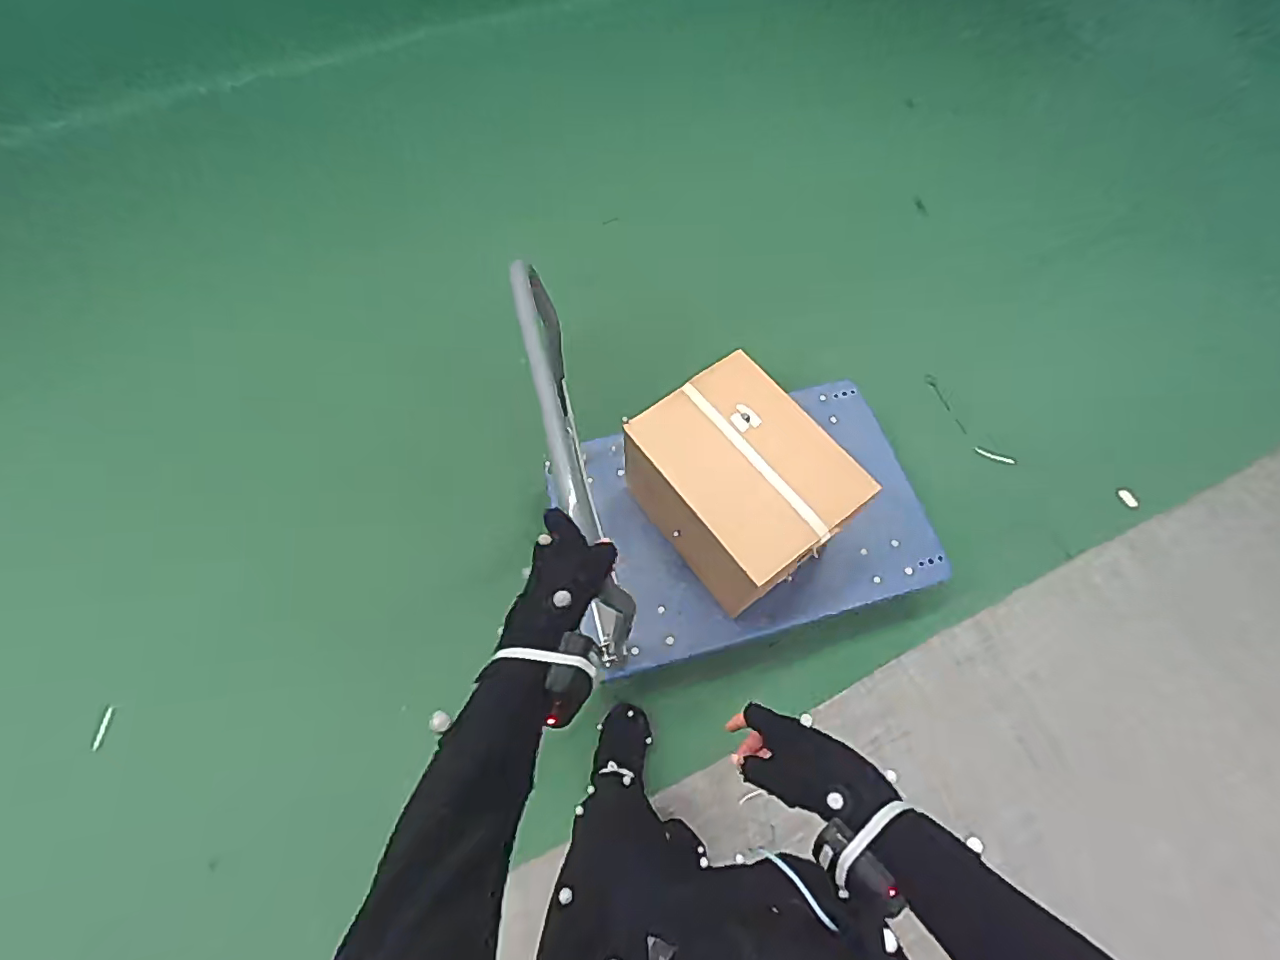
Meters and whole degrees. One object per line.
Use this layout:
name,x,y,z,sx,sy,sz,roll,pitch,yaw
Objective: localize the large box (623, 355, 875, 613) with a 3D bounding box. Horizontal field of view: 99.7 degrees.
large box,0.210,0.019,1.184,0.320,0.320,0.408,-35,69,-14
